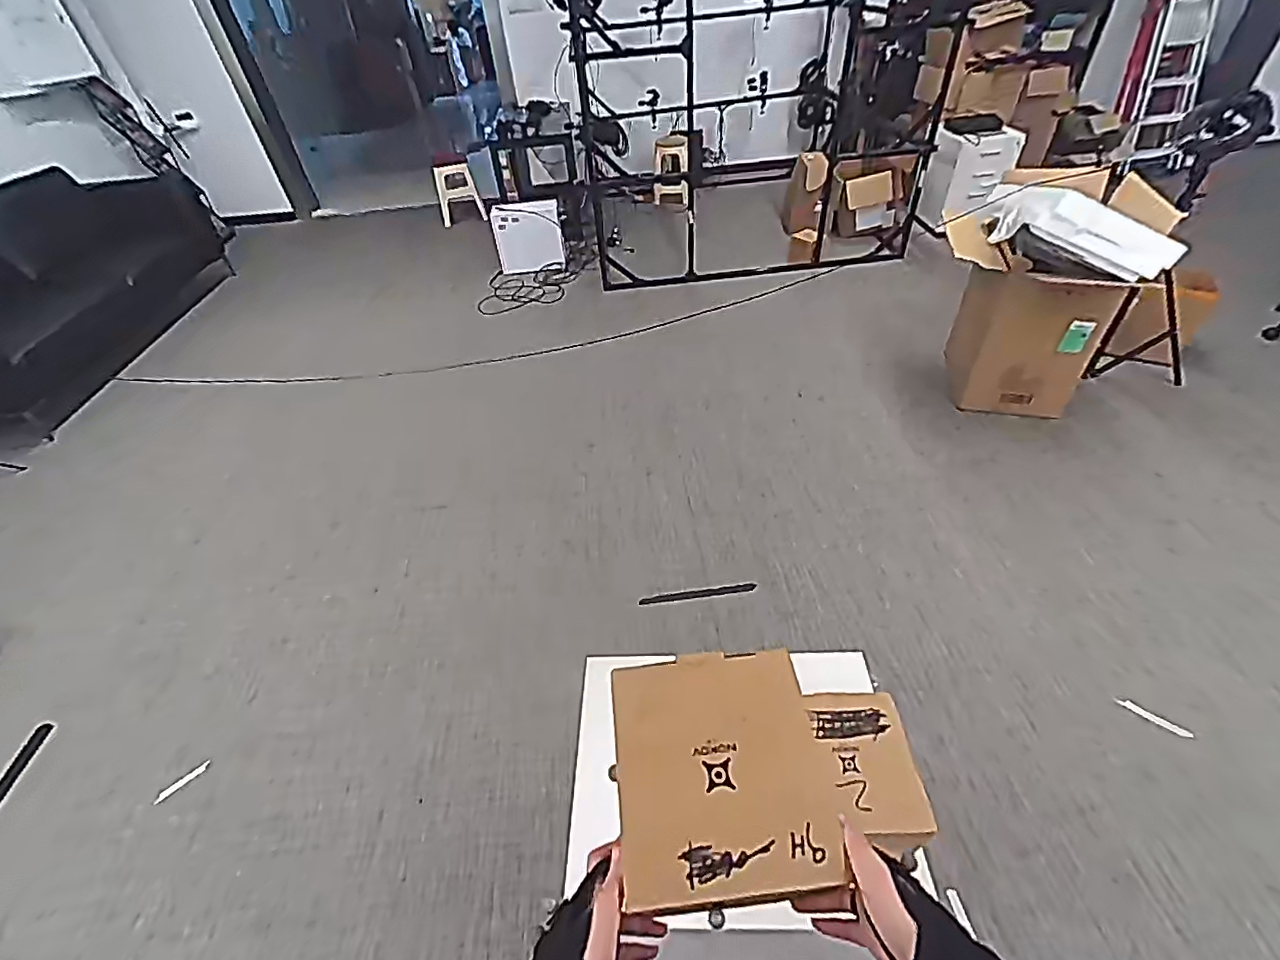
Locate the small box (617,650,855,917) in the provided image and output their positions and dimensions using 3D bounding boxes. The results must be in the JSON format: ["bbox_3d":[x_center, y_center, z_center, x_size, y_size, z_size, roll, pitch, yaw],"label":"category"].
[{"bbox_3d":[0.069,0.279,0.495,0.168,0.176,0.179,-6,50,-1],"label":"small box"}]
